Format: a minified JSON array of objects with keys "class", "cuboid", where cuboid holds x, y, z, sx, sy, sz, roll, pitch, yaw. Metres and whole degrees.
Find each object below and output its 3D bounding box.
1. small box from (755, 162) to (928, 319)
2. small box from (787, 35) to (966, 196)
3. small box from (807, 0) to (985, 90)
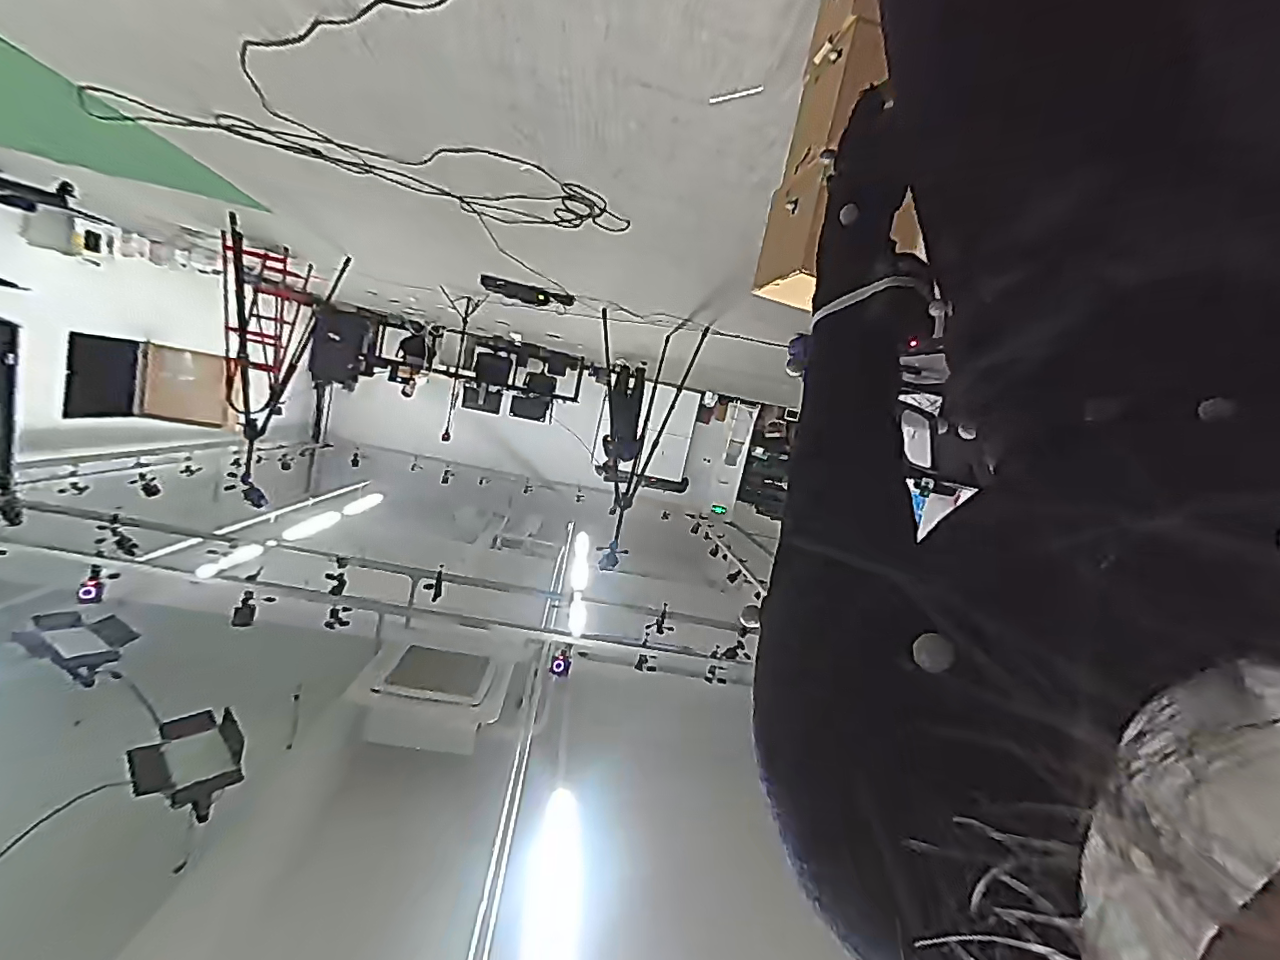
[{"class":"small box","cuboid":[0.310,-0.364,0.846,0.179,0.176,0.168,11,-173,-14]},{"class":"small box","cuboid":[0.347,-0.520,0.819,0.179,0.176,0.168,10,-173,-9]},{"class":"small box","cuboid":[0.378,-0.682,0.795,0.179,0.176,0.168,13,-171,-6]}]
